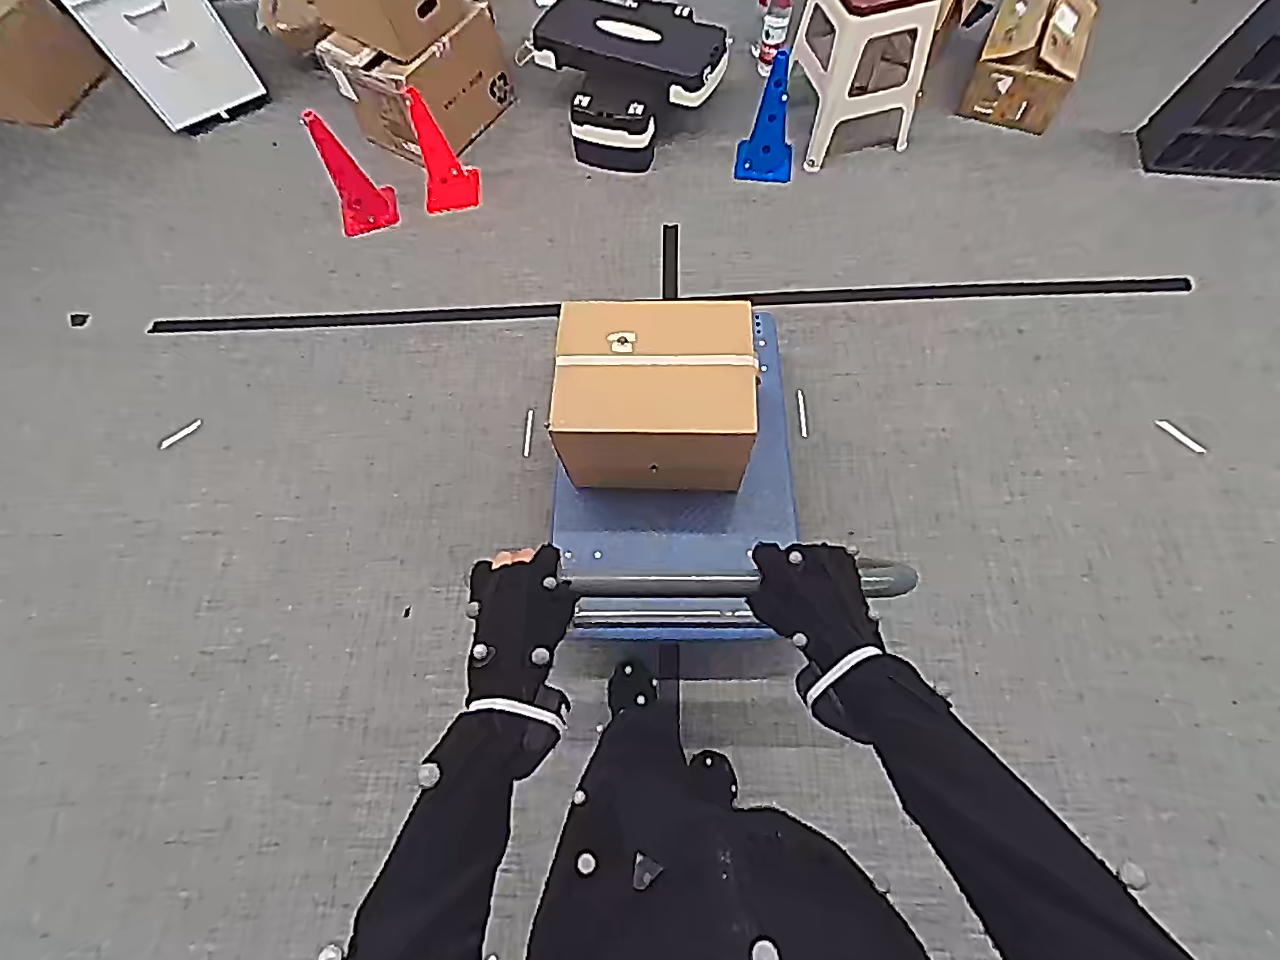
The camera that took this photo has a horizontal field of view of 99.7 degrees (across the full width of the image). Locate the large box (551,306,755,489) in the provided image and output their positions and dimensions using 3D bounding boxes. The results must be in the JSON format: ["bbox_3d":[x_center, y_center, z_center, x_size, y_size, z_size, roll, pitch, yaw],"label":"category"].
[{"bbox_3d":[0.037,-0.171,1.234,0.408,0.320,0.320,1,68,4],"label":"large box"}]
